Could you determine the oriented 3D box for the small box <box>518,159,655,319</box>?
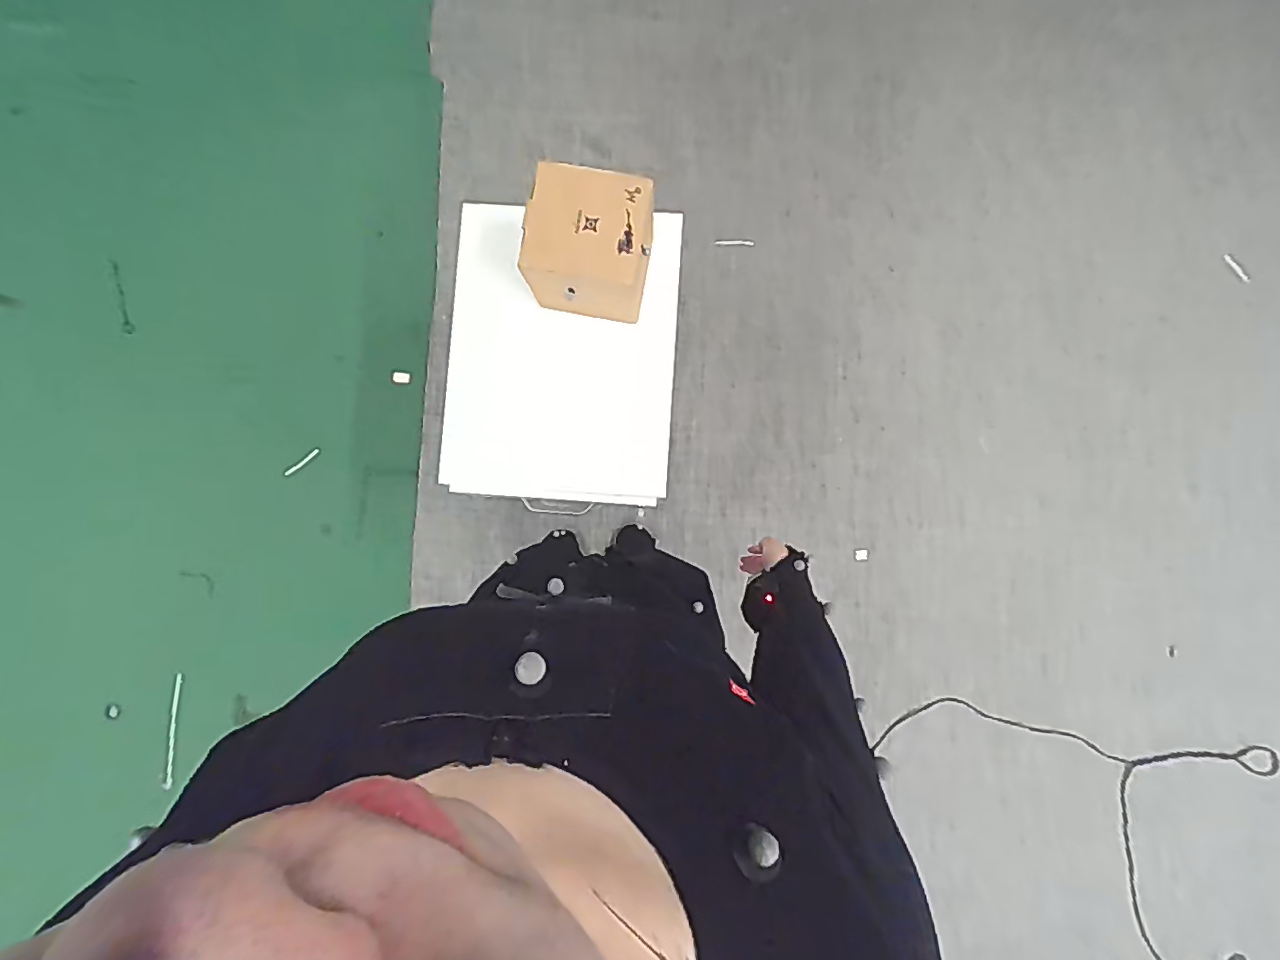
[{"bbox_3d":[-0.076,-0.375,0.869,0.179,0.176,0.168,11,87,2],"label":"small box"}]
